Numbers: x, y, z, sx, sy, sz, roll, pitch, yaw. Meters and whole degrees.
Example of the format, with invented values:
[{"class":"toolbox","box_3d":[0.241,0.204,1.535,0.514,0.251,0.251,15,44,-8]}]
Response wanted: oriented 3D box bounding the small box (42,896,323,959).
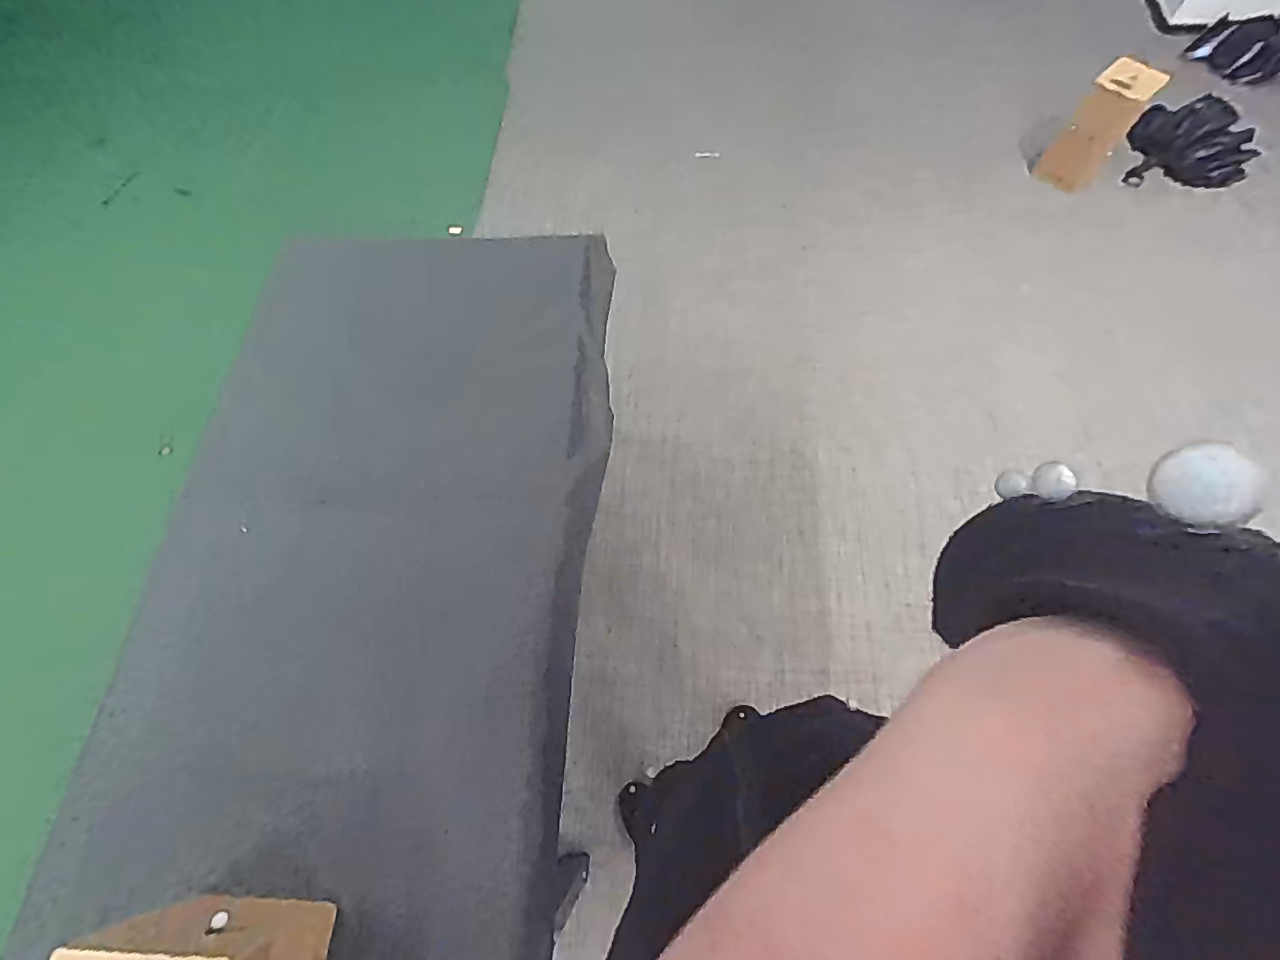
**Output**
[{"class":"small box","box_3d":[-0.450,0.528,0.525,0.179,0.176,0.168,1,65,2]}]
